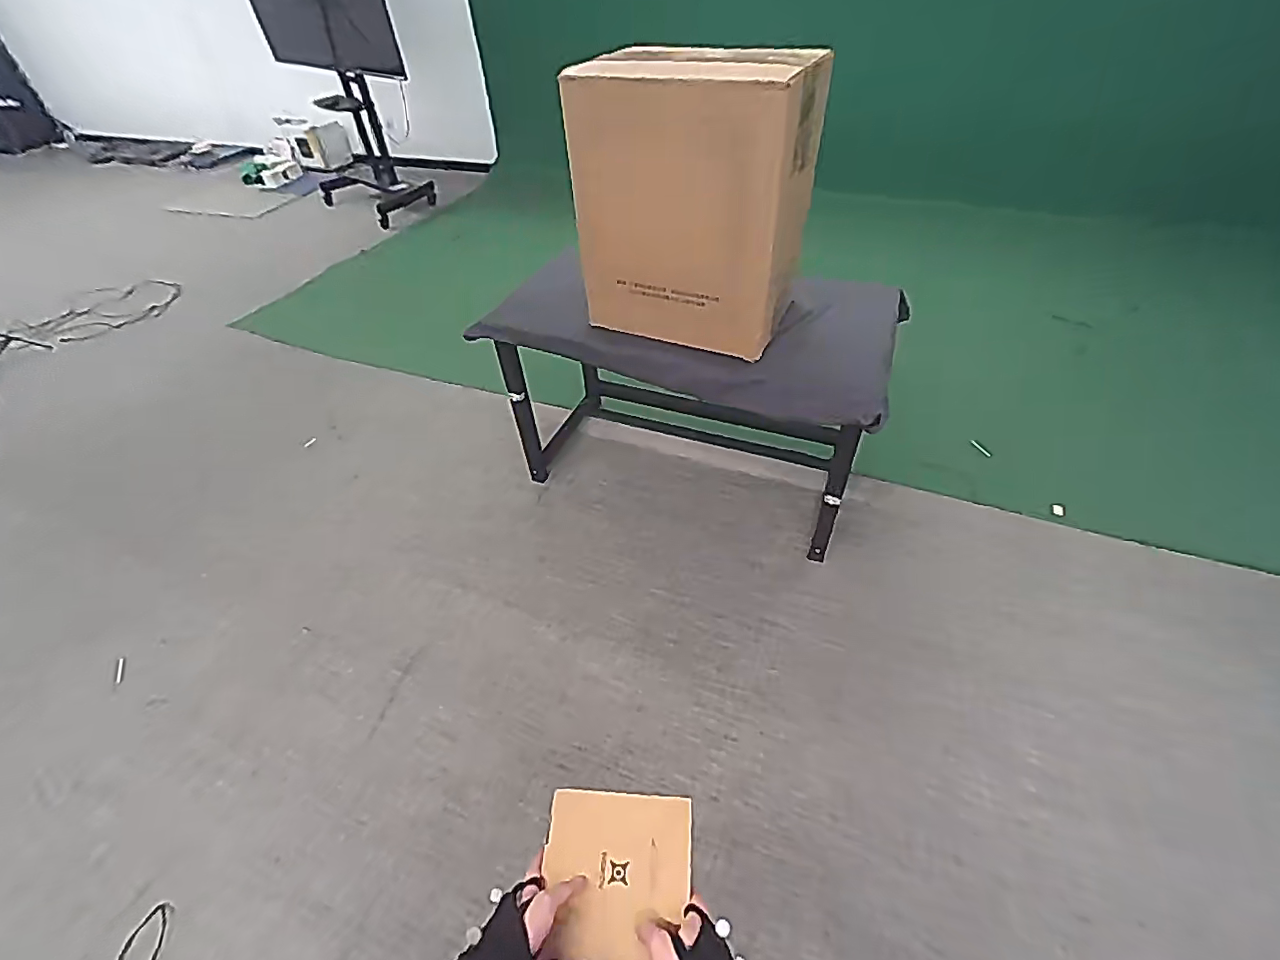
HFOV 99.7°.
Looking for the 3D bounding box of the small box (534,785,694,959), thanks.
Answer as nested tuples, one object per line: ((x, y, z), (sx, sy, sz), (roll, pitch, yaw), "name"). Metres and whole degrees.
((-0.022, 0.504, 0.690), (0.179, 0.176, 0.168), (1, 50, 3), "small box")
